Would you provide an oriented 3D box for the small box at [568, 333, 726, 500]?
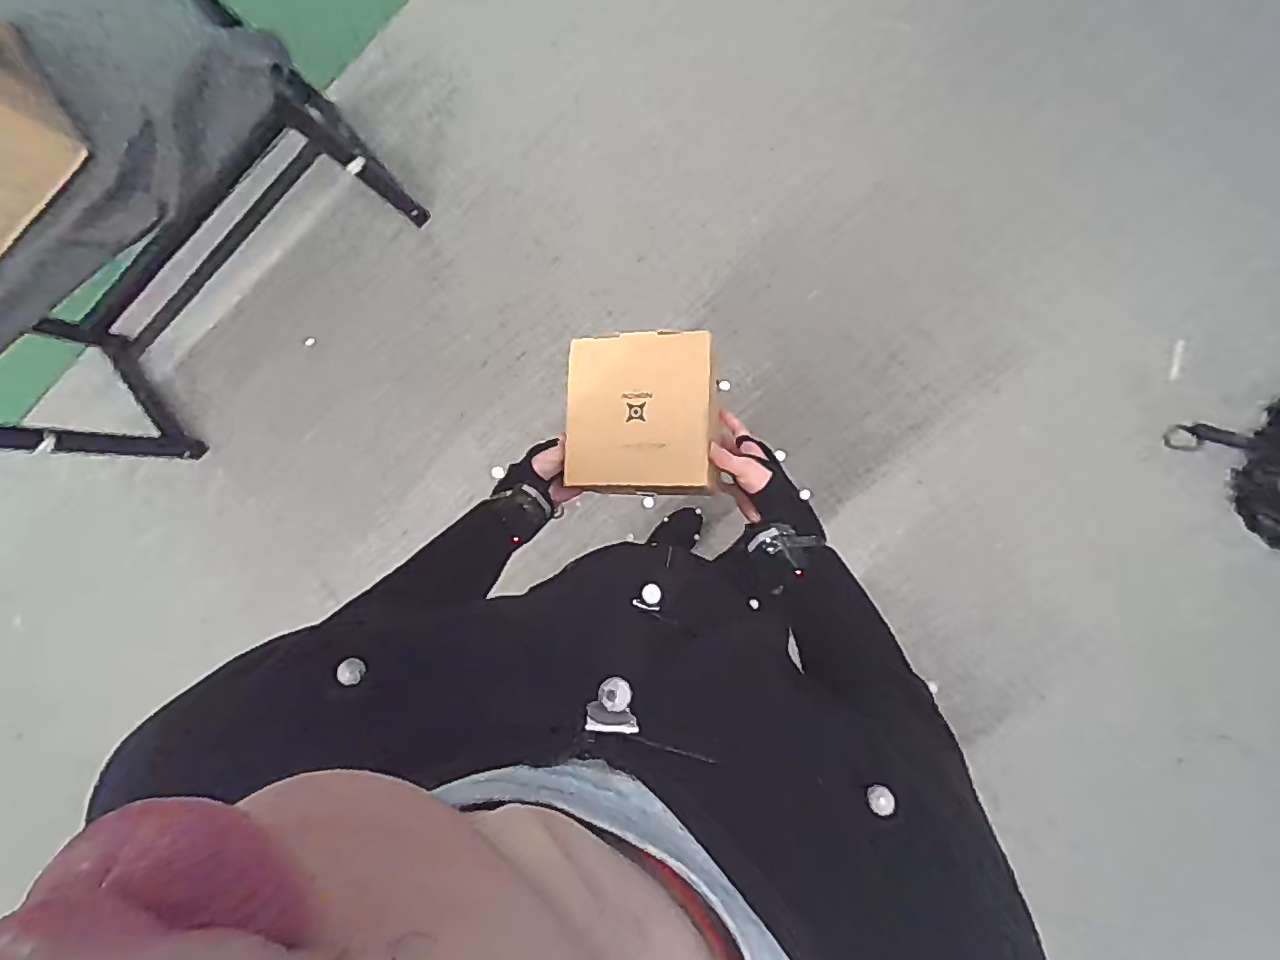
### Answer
[{"bbox_3d":[0.018,-0.070,0.685,0.168,0.176,0.179,0,84,14],"label":"small box"}]
